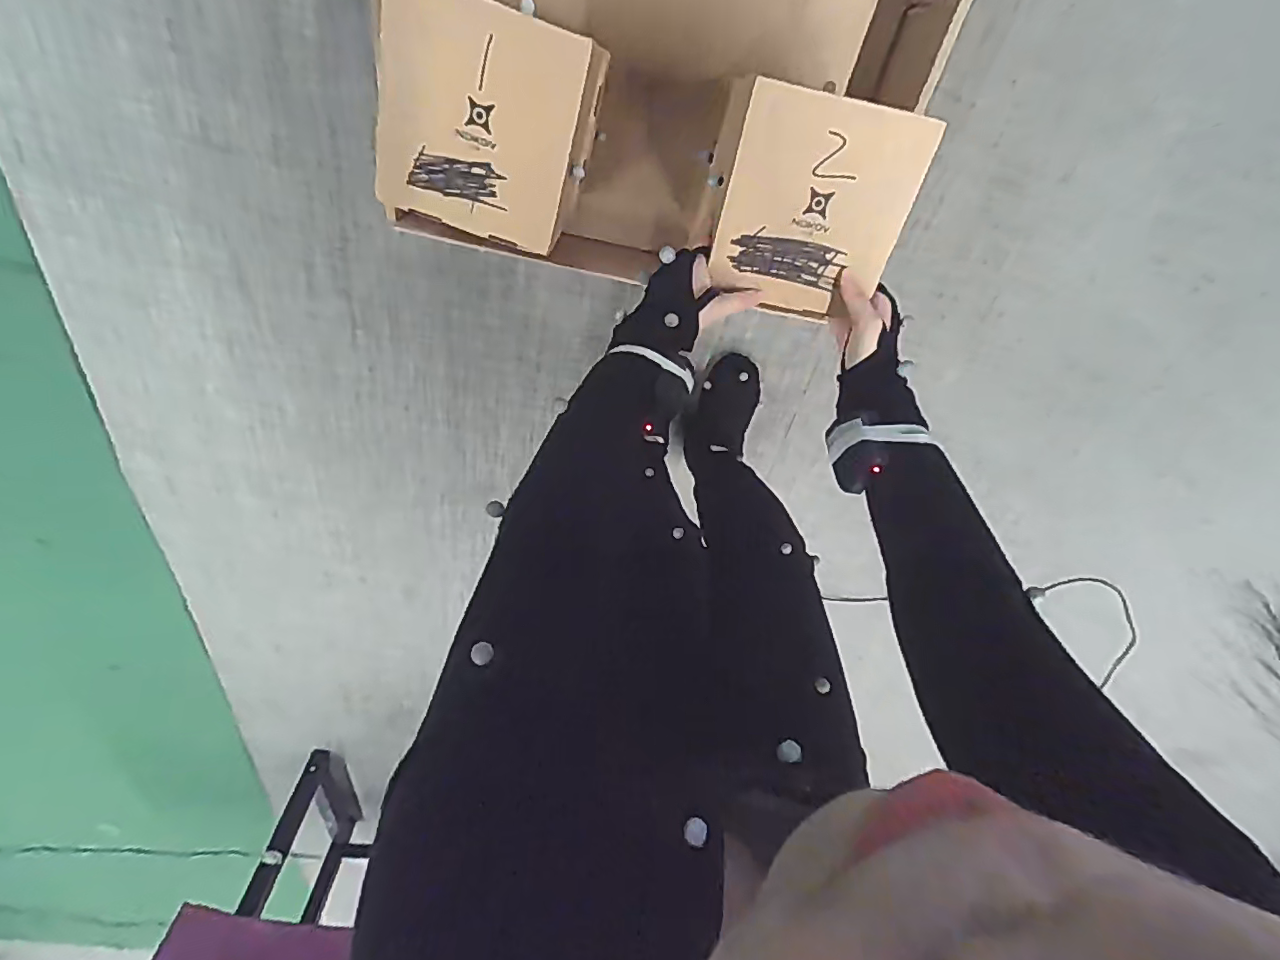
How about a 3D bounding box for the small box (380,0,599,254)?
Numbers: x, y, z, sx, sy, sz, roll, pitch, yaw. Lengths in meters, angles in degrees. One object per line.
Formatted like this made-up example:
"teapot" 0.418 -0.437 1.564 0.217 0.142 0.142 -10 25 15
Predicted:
"small box" -0.140 -0.355 0.537 0.168 0.176 0.179 14 124 -11
